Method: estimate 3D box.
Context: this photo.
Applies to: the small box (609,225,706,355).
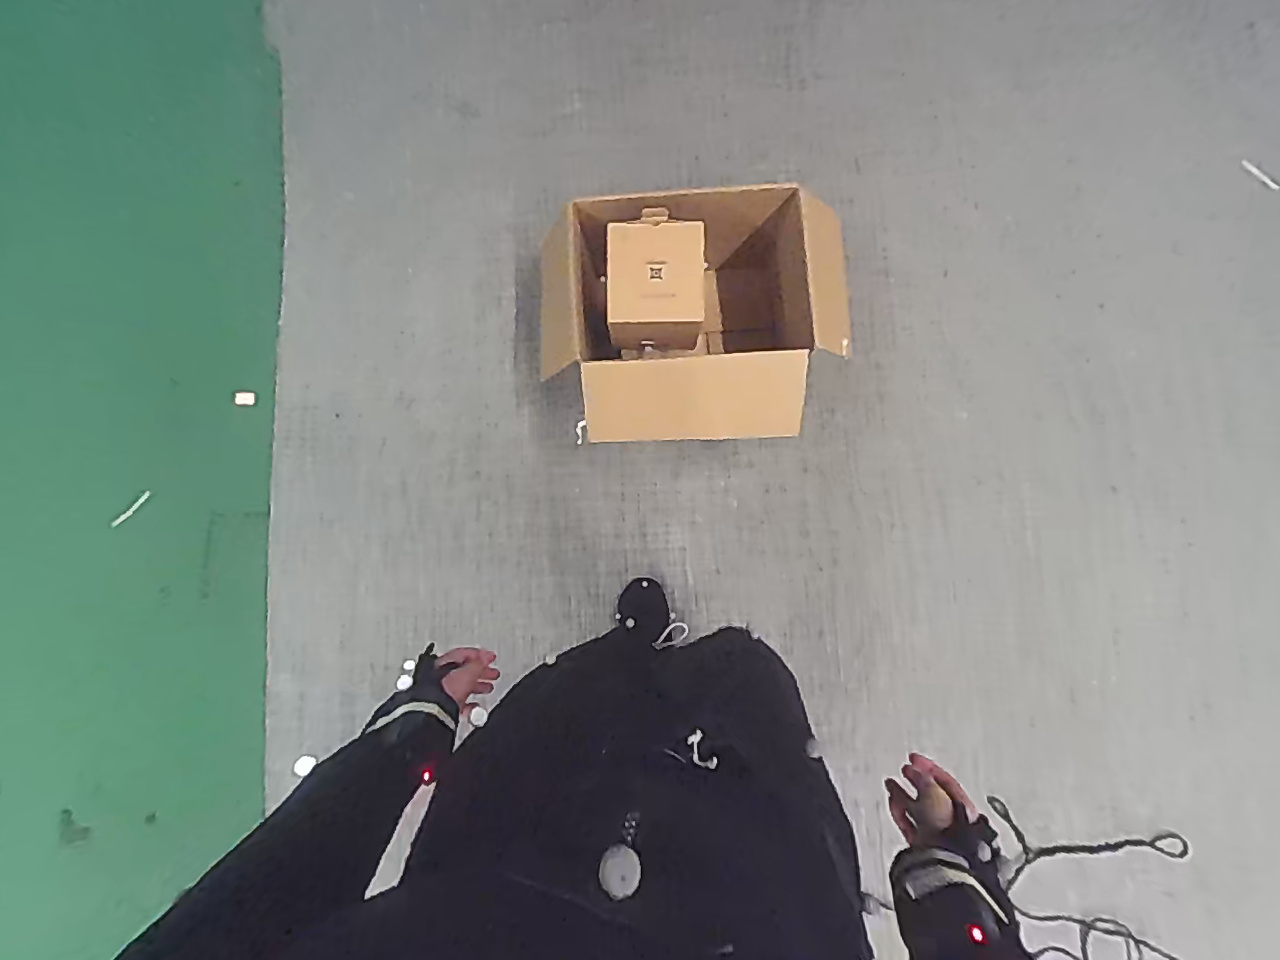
[{"bbox_3d":[0.029,-0.341,0.994,0.168,0.176,0.179,0,87,0],"label":"small box"}]
